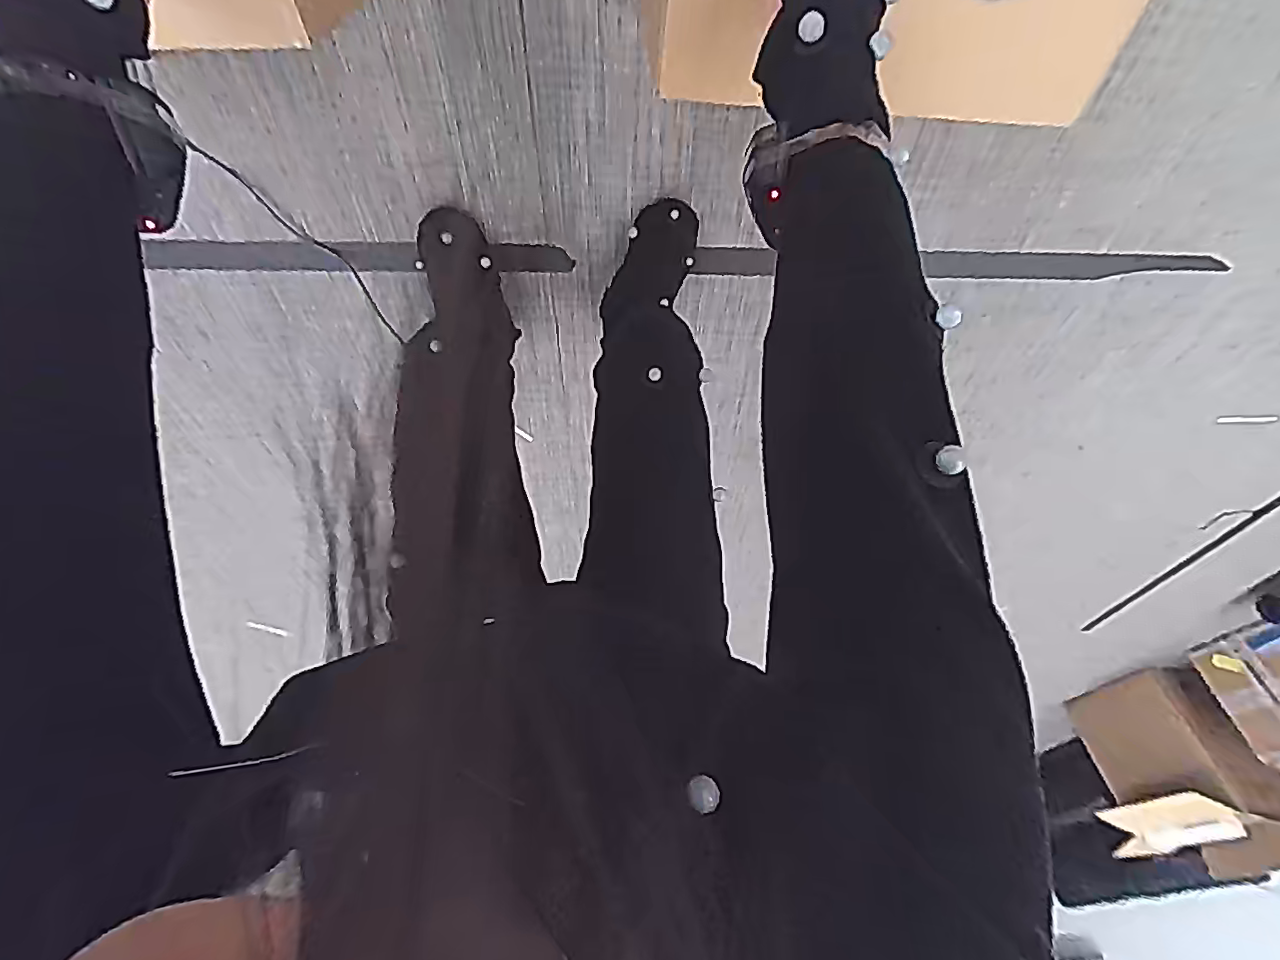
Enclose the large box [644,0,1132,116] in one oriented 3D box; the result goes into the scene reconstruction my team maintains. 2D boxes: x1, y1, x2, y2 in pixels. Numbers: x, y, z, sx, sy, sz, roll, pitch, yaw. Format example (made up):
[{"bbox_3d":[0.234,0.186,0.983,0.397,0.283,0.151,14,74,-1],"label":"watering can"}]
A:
[{"bbox_3d":[0.220,-0.568,0.495,0.408,0.320,0.320,0,140,-6],"label":"large box"}]
